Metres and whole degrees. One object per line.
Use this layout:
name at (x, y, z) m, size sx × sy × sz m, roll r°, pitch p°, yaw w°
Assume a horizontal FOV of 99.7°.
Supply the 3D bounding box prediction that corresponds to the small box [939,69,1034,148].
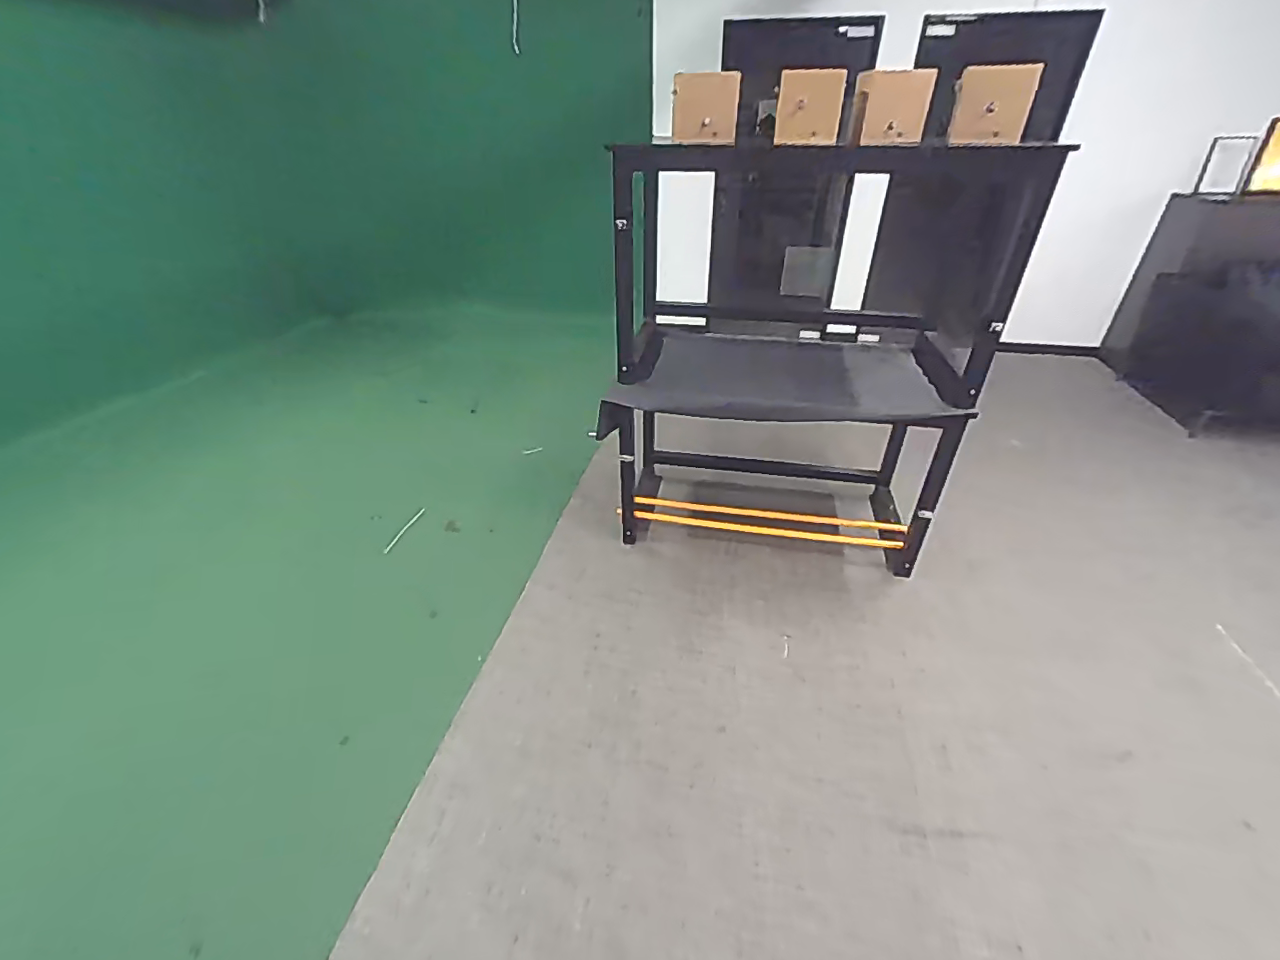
small box at (0.927, -0.999, 1.462) m, size 0.168 × 0.176 × 0.179 m, roll 12°, pitch 36°, yaw 18°

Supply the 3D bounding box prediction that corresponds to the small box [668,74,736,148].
small box at (0.176, -1.085, 1.594) m, size 0.168 × 0.176 × 0.179 m, roll -3°, pitch 35°, yaw -4°
